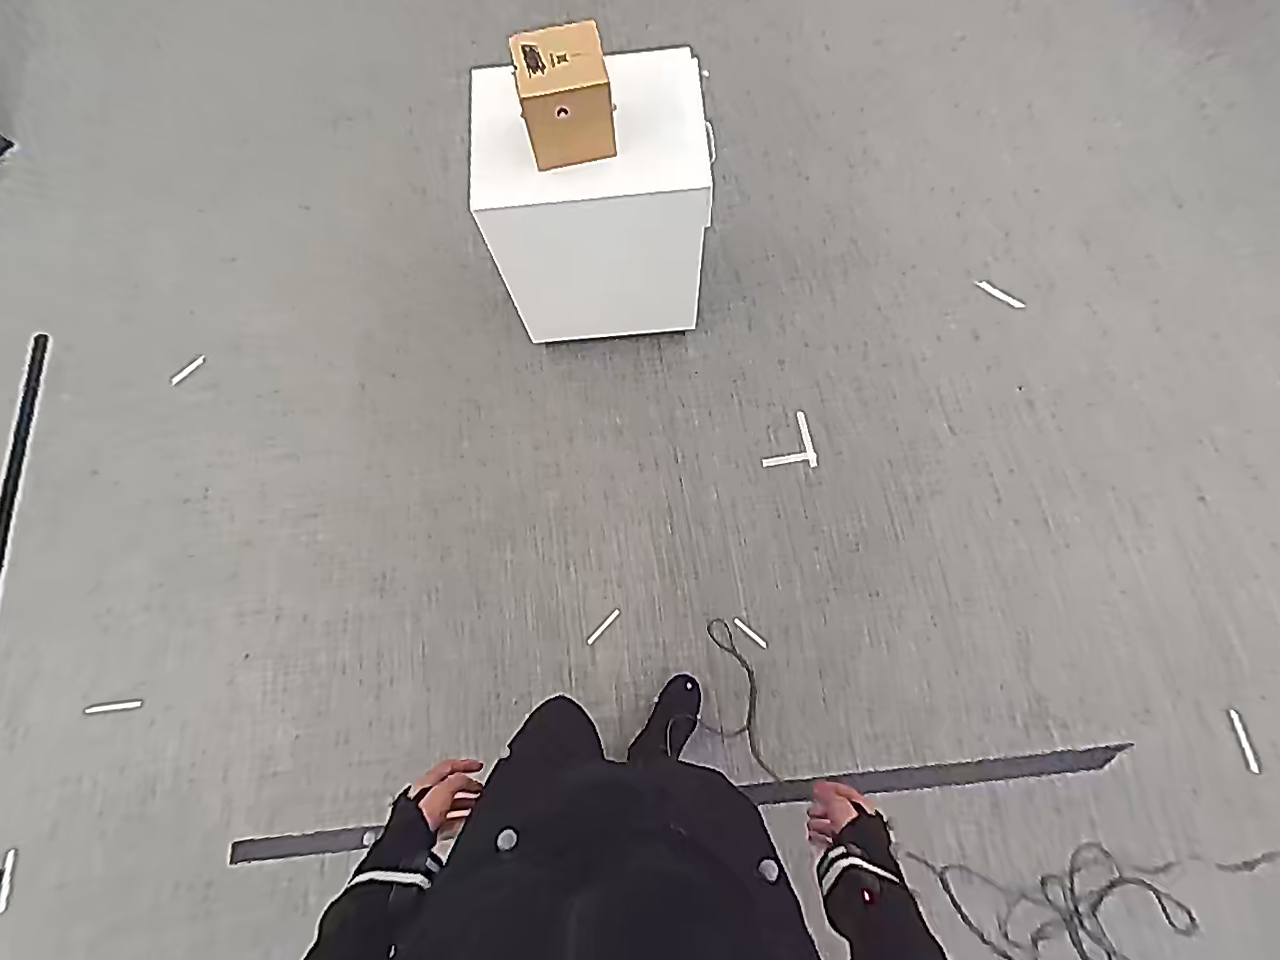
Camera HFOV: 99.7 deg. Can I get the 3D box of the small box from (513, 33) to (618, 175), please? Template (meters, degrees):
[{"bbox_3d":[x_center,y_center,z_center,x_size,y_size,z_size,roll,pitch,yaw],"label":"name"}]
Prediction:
[{"bbox_3d":[-0.148,-0.767,1.119,0.179,0.176,0.168,-11,74,-1],"label":"small box"}]
